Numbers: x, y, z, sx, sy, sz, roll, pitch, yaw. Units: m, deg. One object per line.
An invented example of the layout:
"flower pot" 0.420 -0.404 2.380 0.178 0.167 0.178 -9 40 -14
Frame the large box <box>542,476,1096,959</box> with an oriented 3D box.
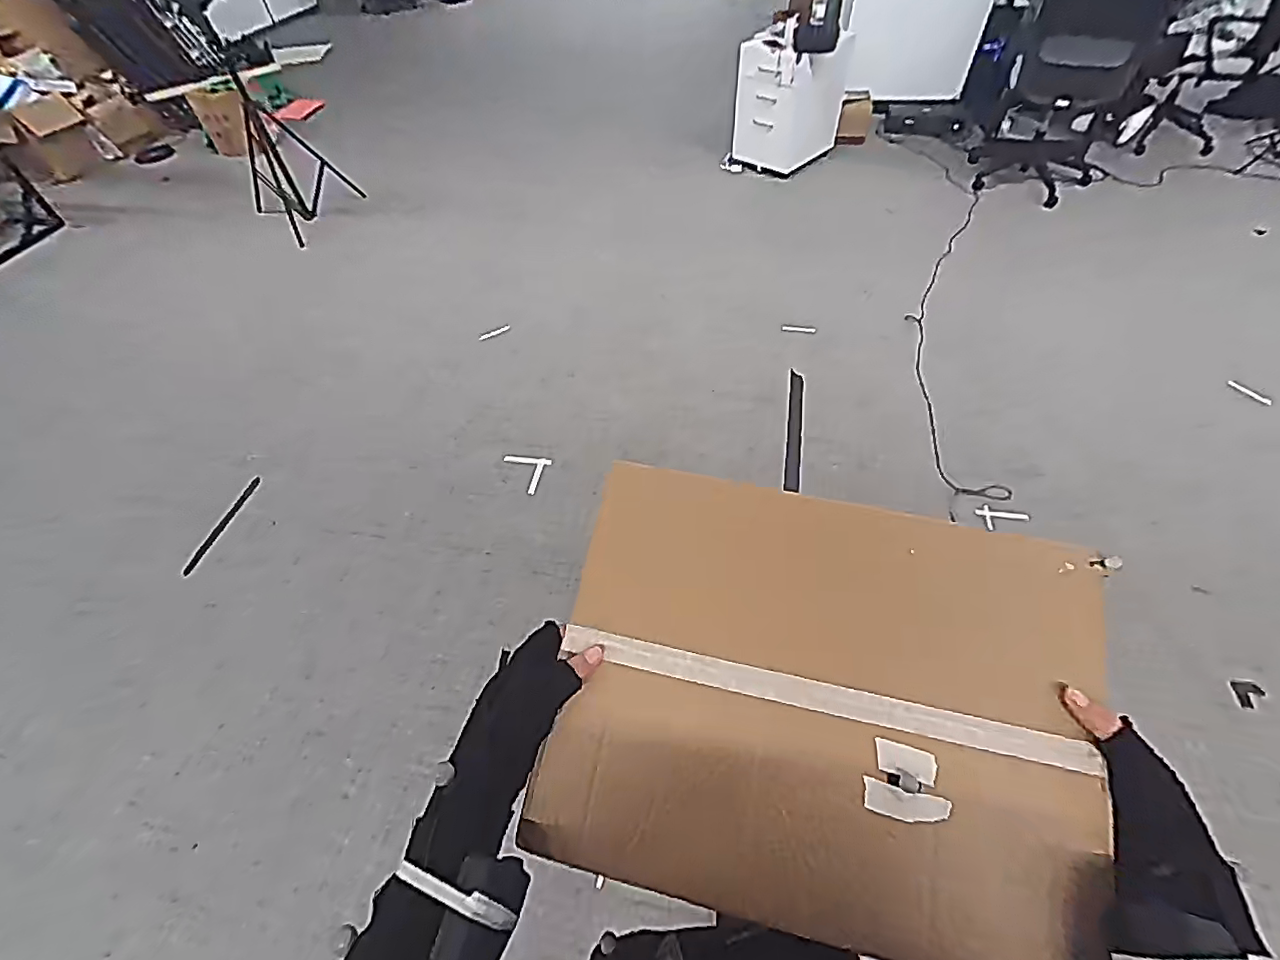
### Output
"large box" 0.157 0.214 0.574 0.408 0.320 0.320 10 75 9
